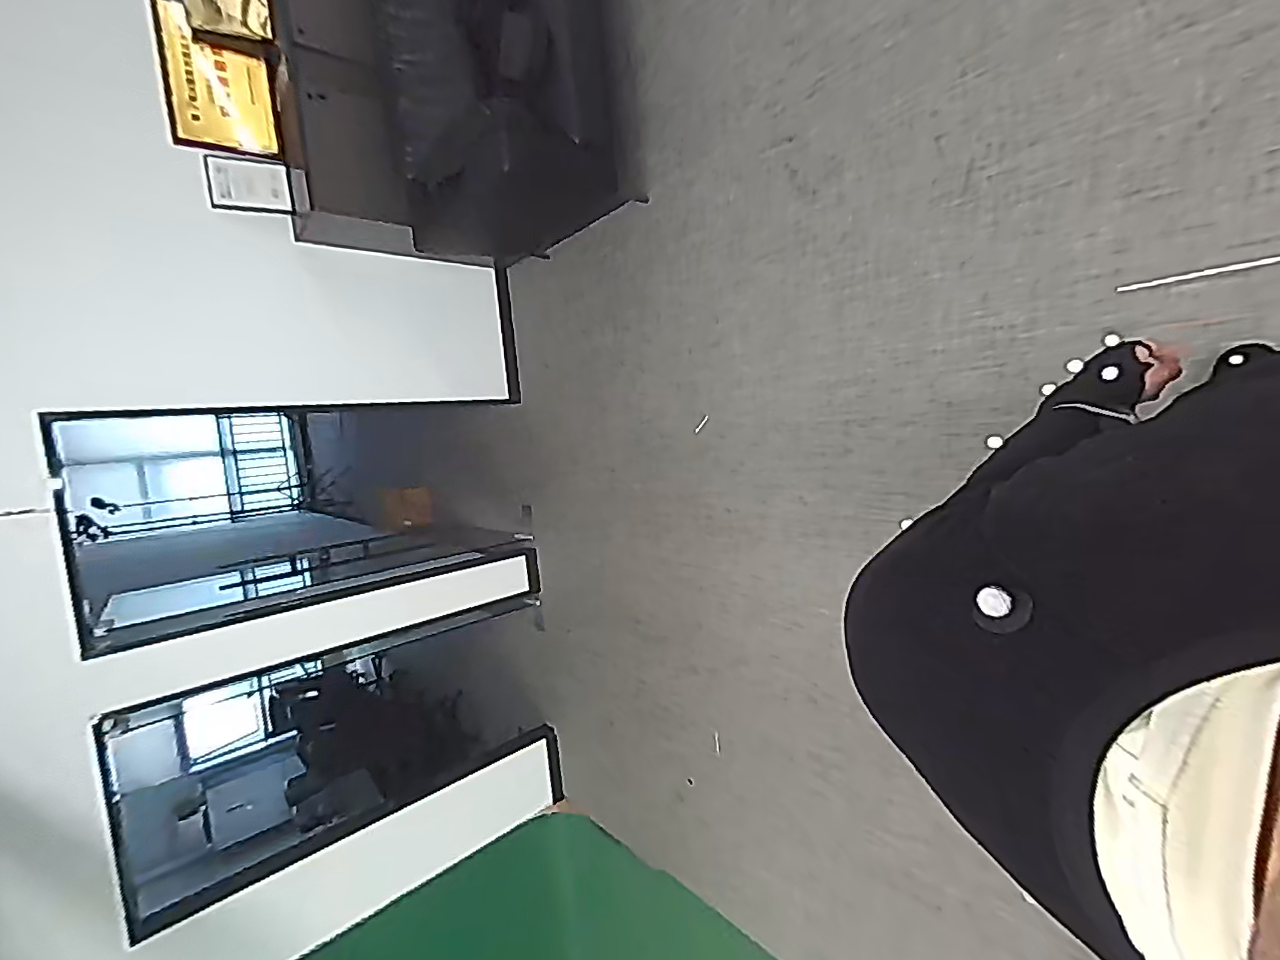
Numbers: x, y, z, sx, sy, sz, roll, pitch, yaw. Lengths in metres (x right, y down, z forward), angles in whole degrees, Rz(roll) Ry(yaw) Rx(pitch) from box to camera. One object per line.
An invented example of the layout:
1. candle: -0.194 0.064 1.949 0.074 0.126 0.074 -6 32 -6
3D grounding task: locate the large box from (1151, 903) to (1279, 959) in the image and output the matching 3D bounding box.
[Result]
1. large box: 1.298 1.185 1.074 0.408 0.320 0.320 3 99 50
